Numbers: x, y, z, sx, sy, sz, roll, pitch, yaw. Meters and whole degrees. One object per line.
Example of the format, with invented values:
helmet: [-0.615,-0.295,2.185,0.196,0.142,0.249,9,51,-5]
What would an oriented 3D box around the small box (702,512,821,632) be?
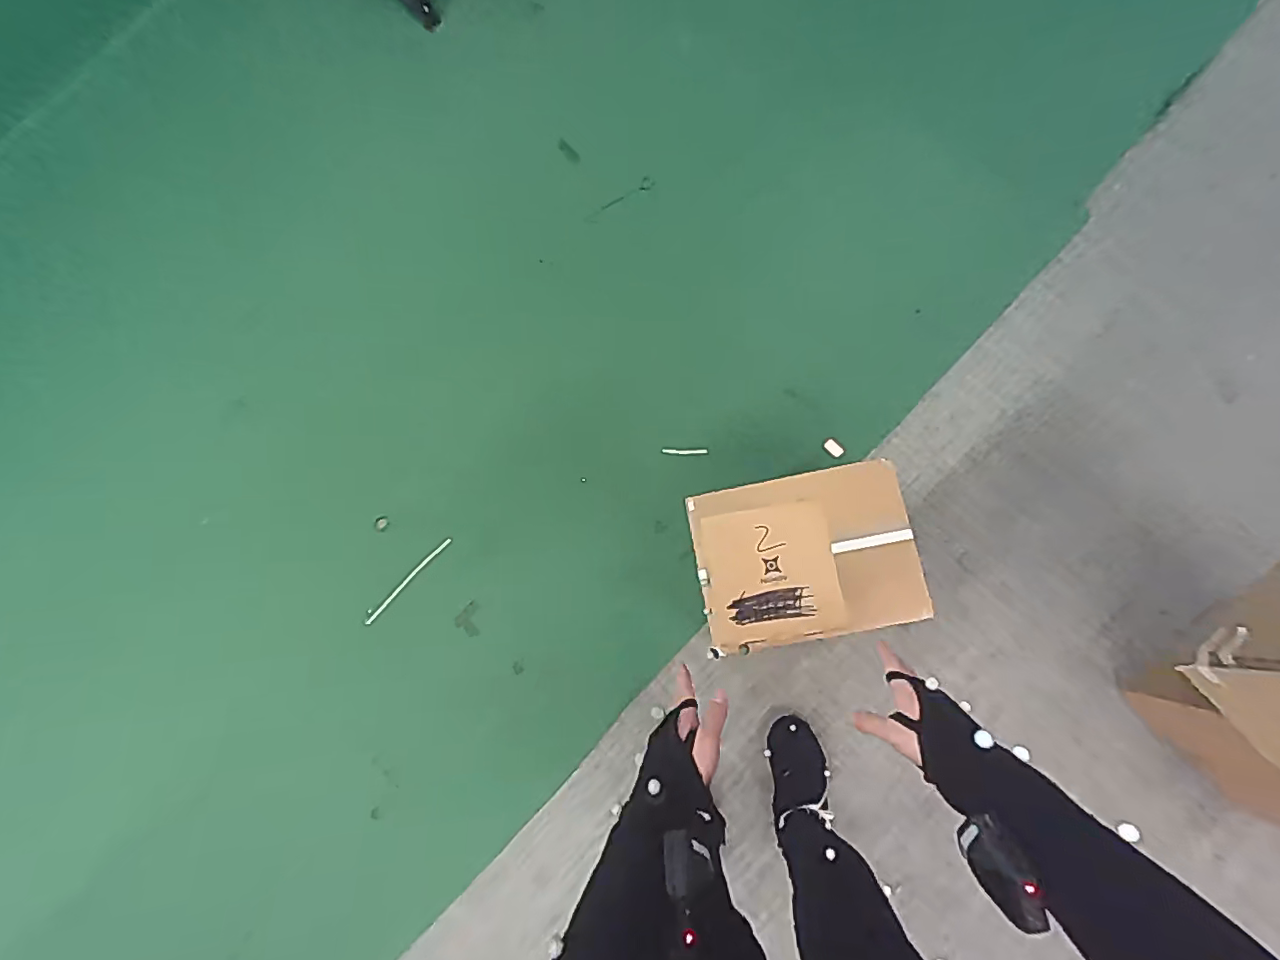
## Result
small box: [0.202,0.163,0.948,0.168,0.176,0.179,-10,78,5]
